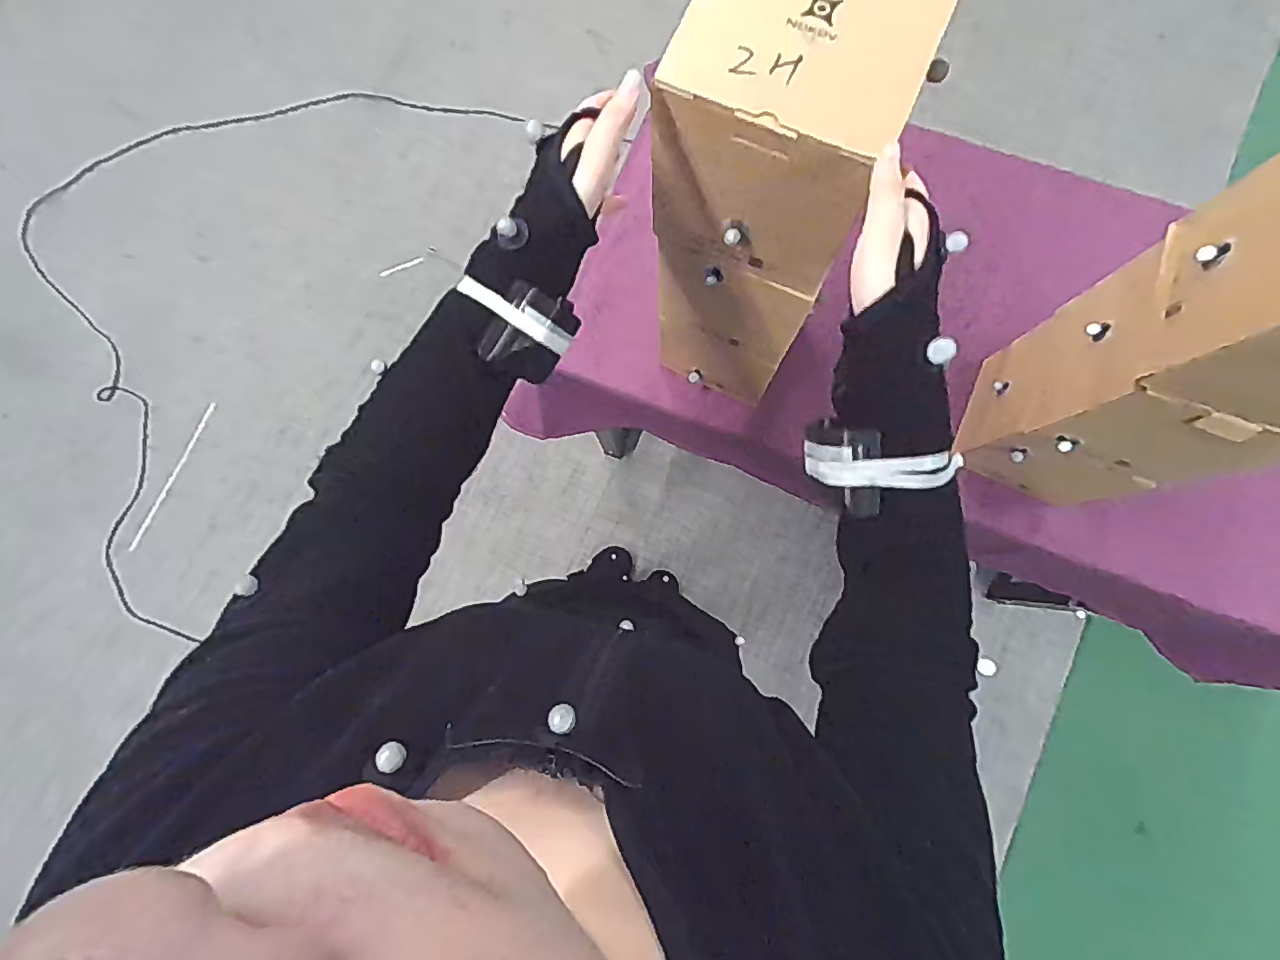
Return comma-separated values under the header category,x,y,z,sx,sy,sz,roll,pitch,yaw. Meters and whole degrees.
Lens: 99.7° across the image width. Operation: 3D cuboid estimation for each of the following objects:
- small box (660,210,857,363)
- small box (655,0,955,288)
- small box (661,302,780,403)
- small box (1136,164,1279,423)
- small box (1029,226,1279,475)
category,x,y,z,sx,sy,sz,roll,pitch,yaw
small box,0.130,-0.264,0.606,0.168,0.176,0.179,26,82,8
small box,0.119,-0.297,0.444,0.168,0.176,0.179,24,82,6
small box,0.137,-0.237,0.769,0.168,0.176,0.179,26,83,6
small box,0.546,-0.149,0.406,0.179,0.176,0.168,19,81,6
small box,0.555,-0.119,0.566,0.168,0.176,0.179,20,81,5
